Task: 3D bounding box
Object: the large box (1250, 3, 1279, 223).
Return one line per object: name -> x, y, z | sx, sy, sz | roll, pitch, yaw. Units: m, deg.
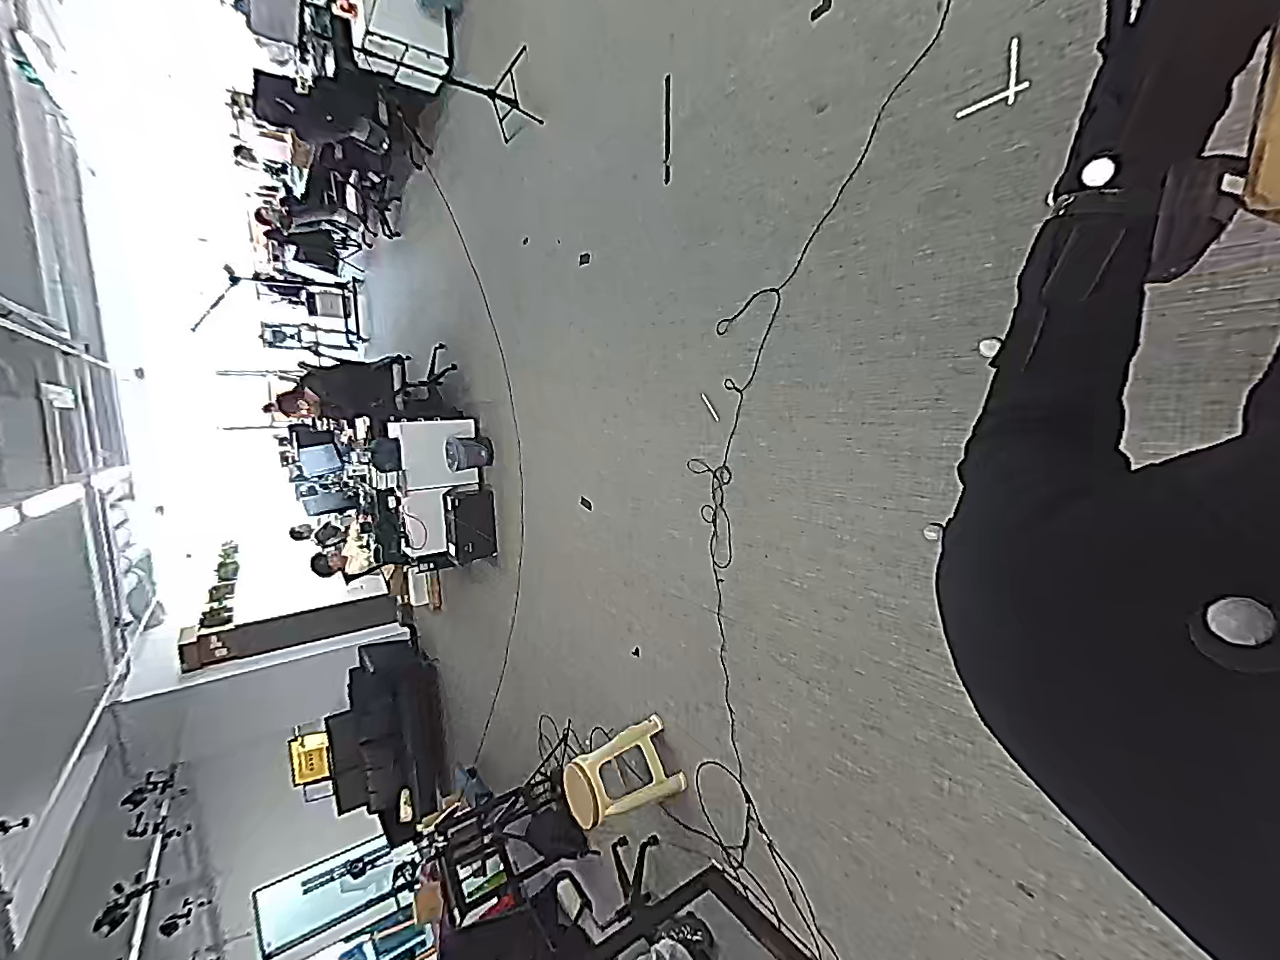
large box -> 0.585, -0.315, 0.222 | 0.408, 0.320, 0.320 | 13, 115, 50
